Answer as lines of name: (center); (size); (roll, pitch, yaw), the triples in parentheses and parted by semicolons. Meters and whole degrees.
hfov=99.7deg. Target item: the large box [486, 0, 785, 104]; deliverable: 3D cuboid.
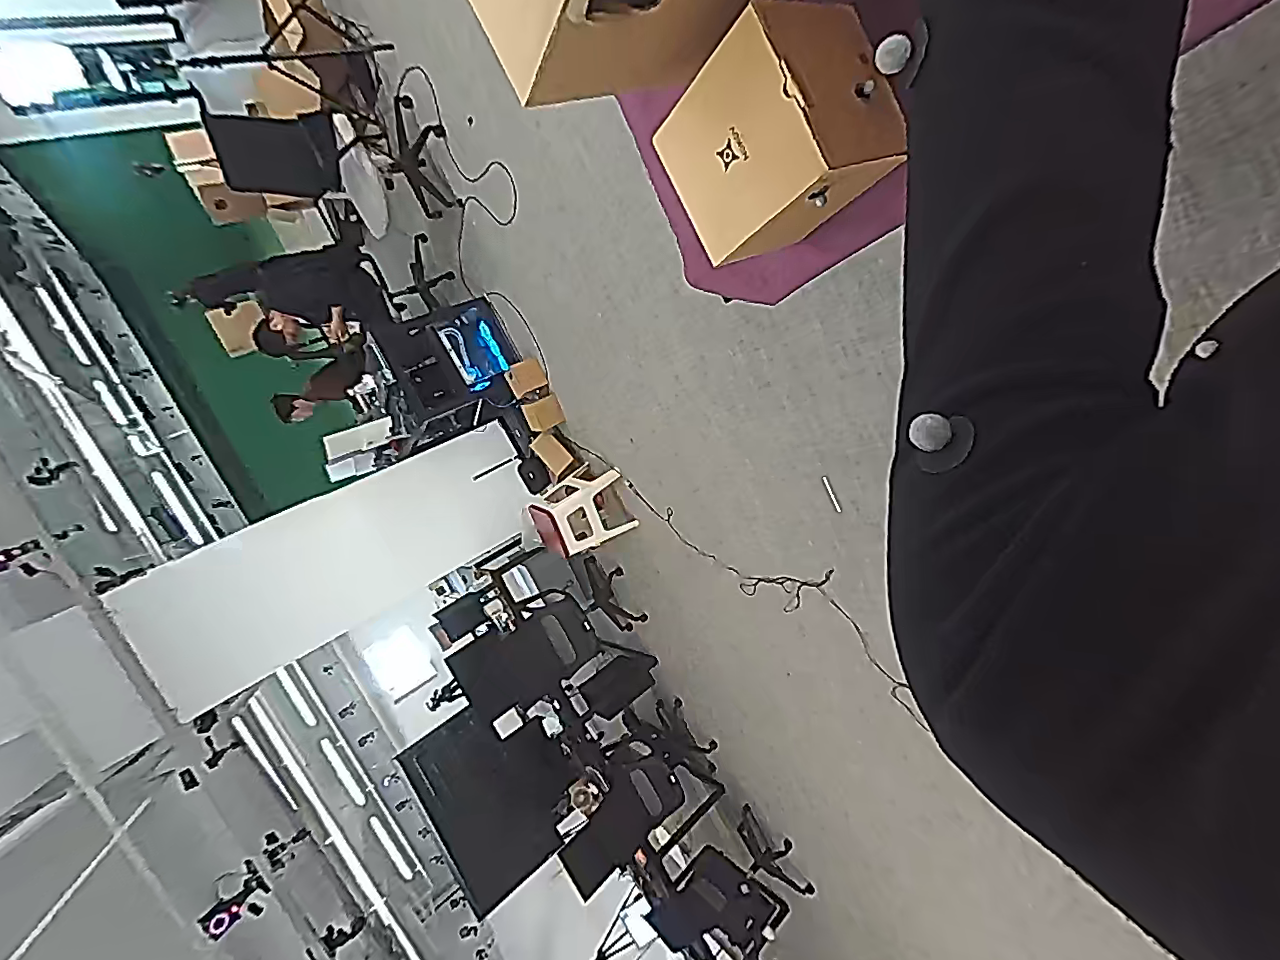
large box: (-0.017, -0.655, 0.482); (0.408, 0.320, 0.320); (60, 152, -8)
